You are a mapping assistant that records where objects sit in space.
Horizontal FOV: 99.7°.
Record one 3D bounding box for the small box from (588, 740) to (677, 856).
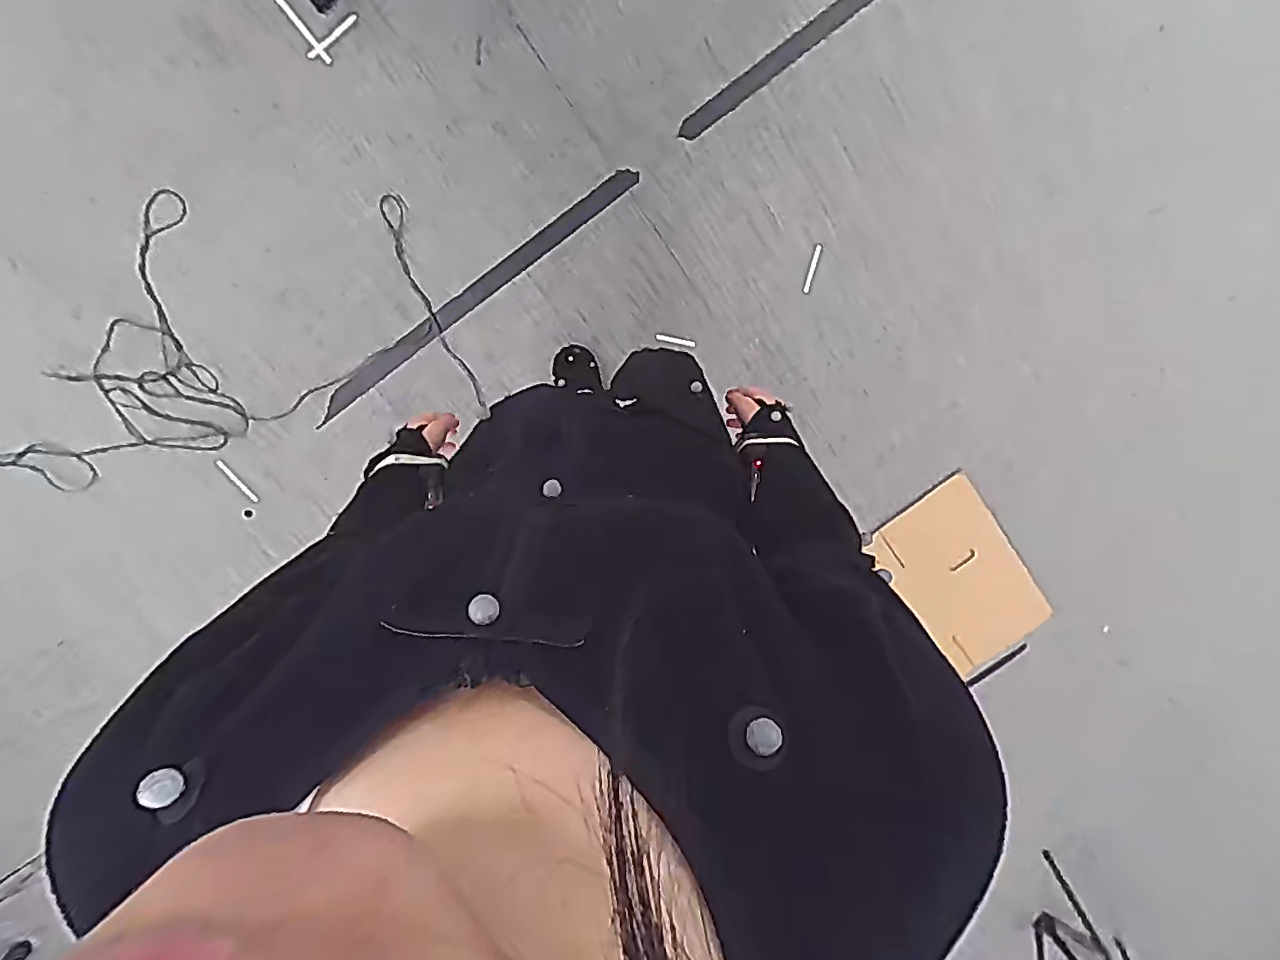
[{"bbox_3d":[-0.022,0.757,1.299,0.179,0.176,0.168,12,102,-6],"label":"small box"}]
